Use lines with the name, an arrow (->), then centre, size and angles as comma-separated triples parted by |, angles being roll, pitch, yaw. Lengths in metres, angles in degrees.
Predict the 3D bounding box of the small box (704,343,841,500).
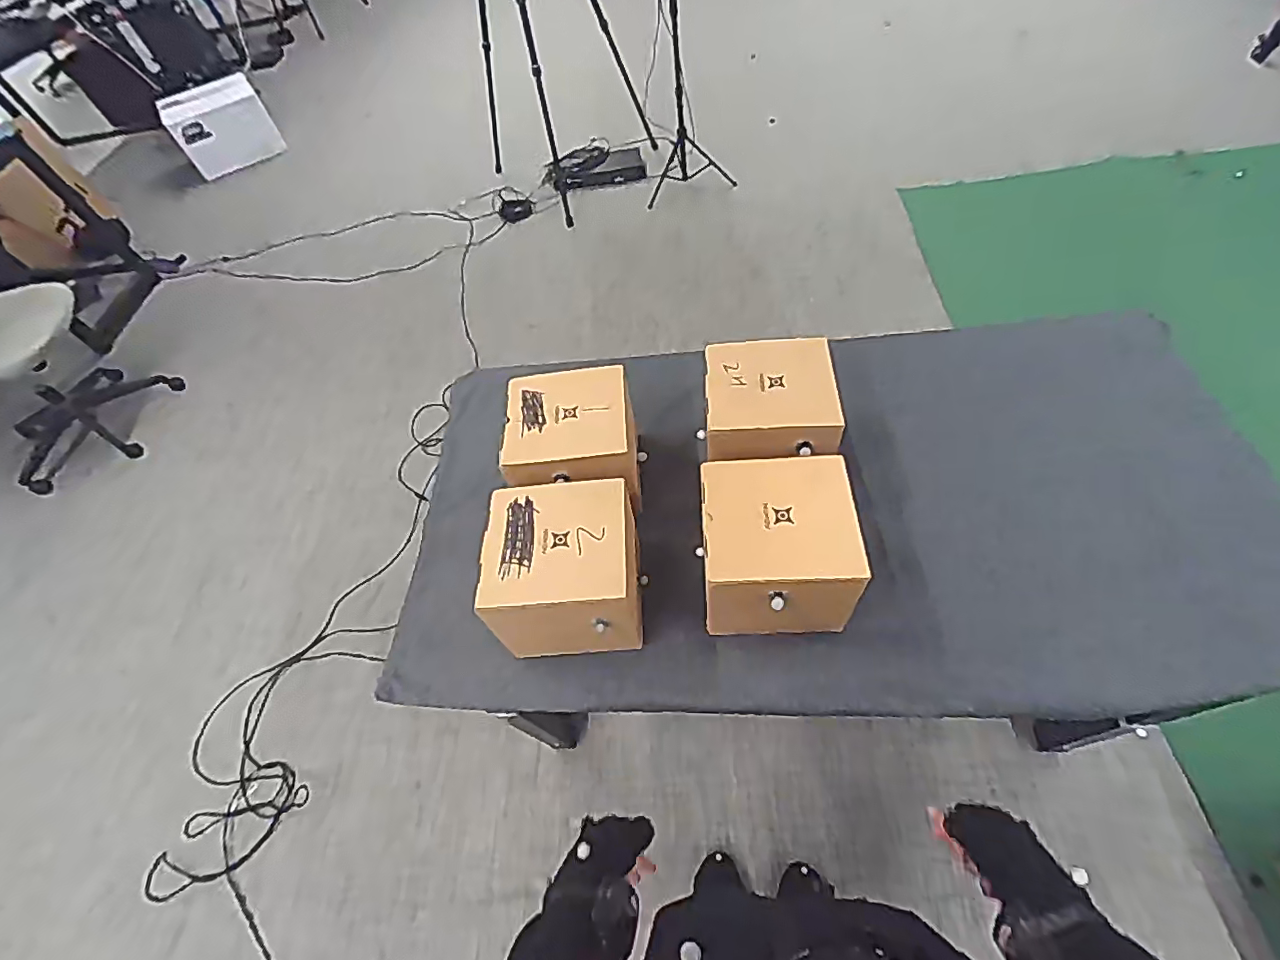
small box -> 0.185, -0.081, 0.806 | 0.179, 0.176, 0.168 | -2, 55, 8
